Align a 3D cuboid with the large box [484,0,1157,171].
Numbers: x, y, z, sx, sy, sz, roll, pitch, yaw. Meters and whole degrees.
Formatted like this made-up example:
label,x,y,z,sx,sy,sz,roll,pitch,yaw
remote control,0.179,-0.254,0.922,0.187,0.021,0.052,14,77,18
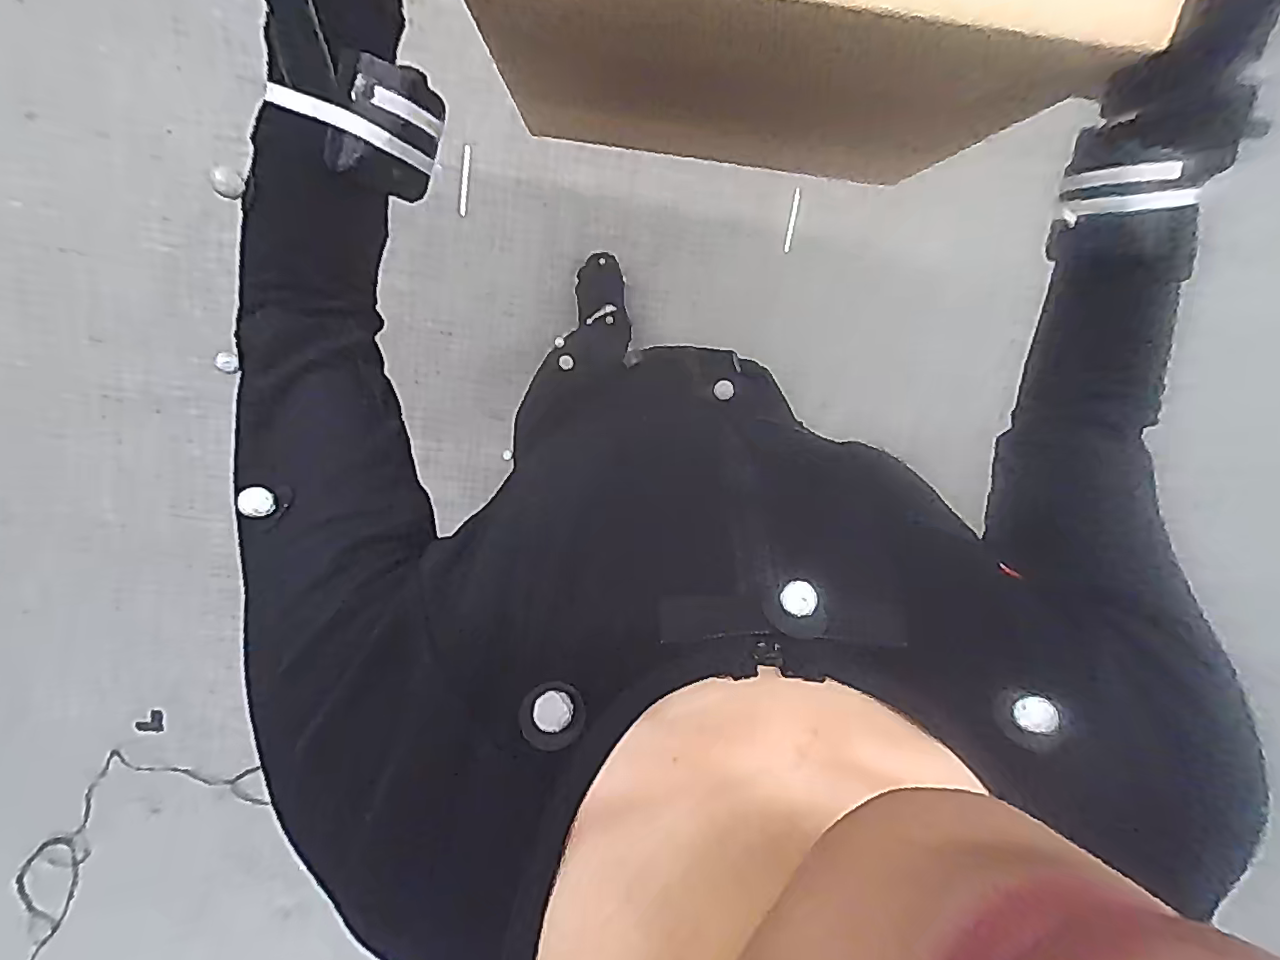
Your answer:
label,x,y,z,sx,sy,sz,roll,pitch,yaw
large box,0.102,-0.458,0.400,0.408,0.320,0.320,5,107,-5
